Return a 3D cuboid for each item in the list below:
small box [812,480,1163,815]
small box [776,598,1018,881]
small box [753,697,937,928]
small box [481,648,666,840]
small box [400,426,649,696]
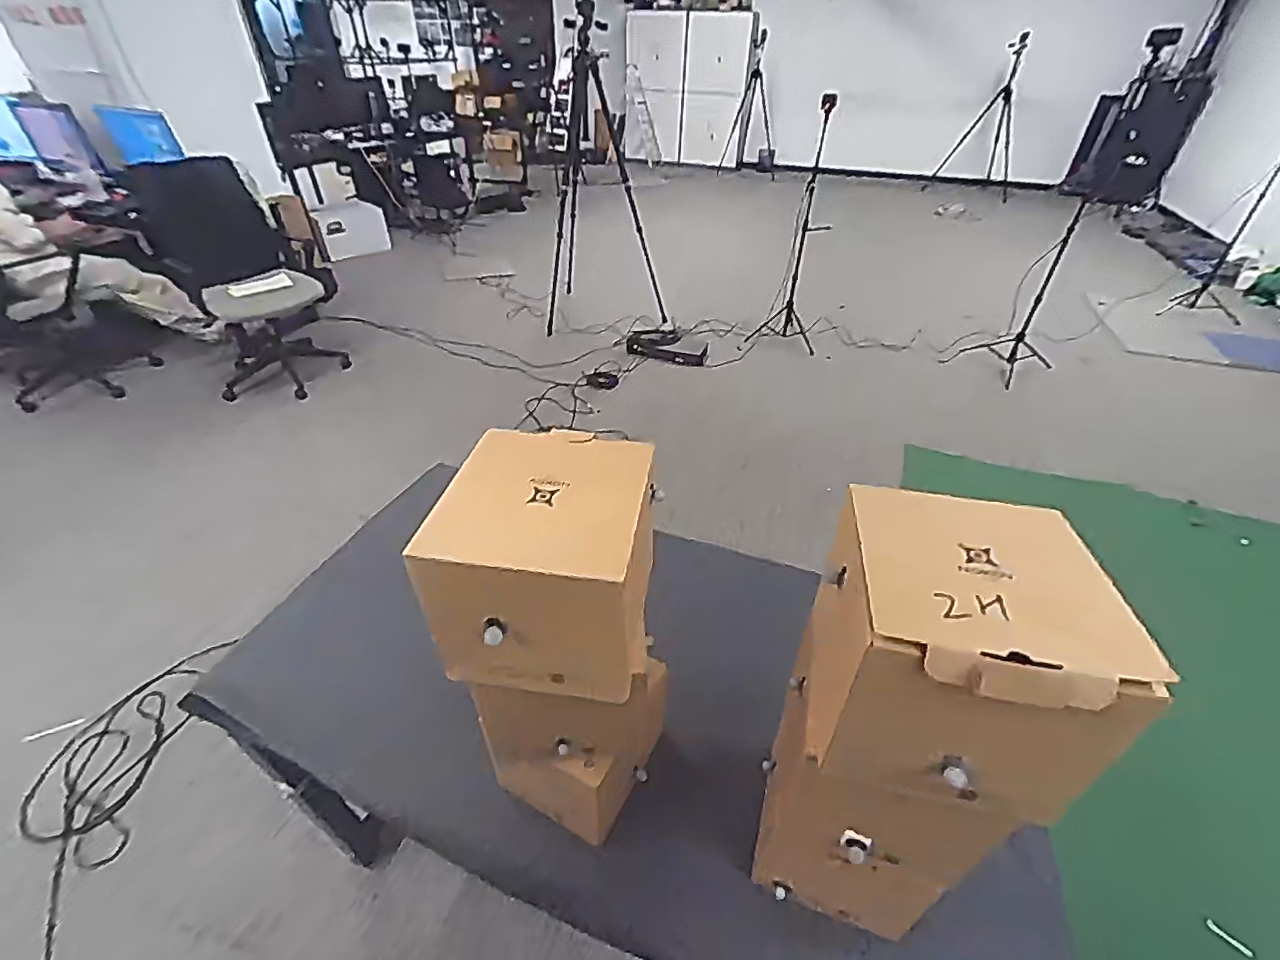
[{"bbox_3d":[0.237,0.125,0.433,0.168,0.176,0.179,7,37,11],"label":"small box"},{"bbox_3d":[0.236,0.252,0.540,0.168,0.176,0.179,10,39,13],"label":"small box"},{"bbox_3d":[0.235,0.380,0.640,0.168,0.176,0.179,13,37,15],"label":"small box"},{"bbox_3d":[-0.081,0.320,0.711,0.168,0.176,0.179,19,40,21],"label":"small box"},{"bbox_3d":[-0.083,0.072,0.496,0.168,0.176,0.179,6,38,5],"label":"small box"}]
